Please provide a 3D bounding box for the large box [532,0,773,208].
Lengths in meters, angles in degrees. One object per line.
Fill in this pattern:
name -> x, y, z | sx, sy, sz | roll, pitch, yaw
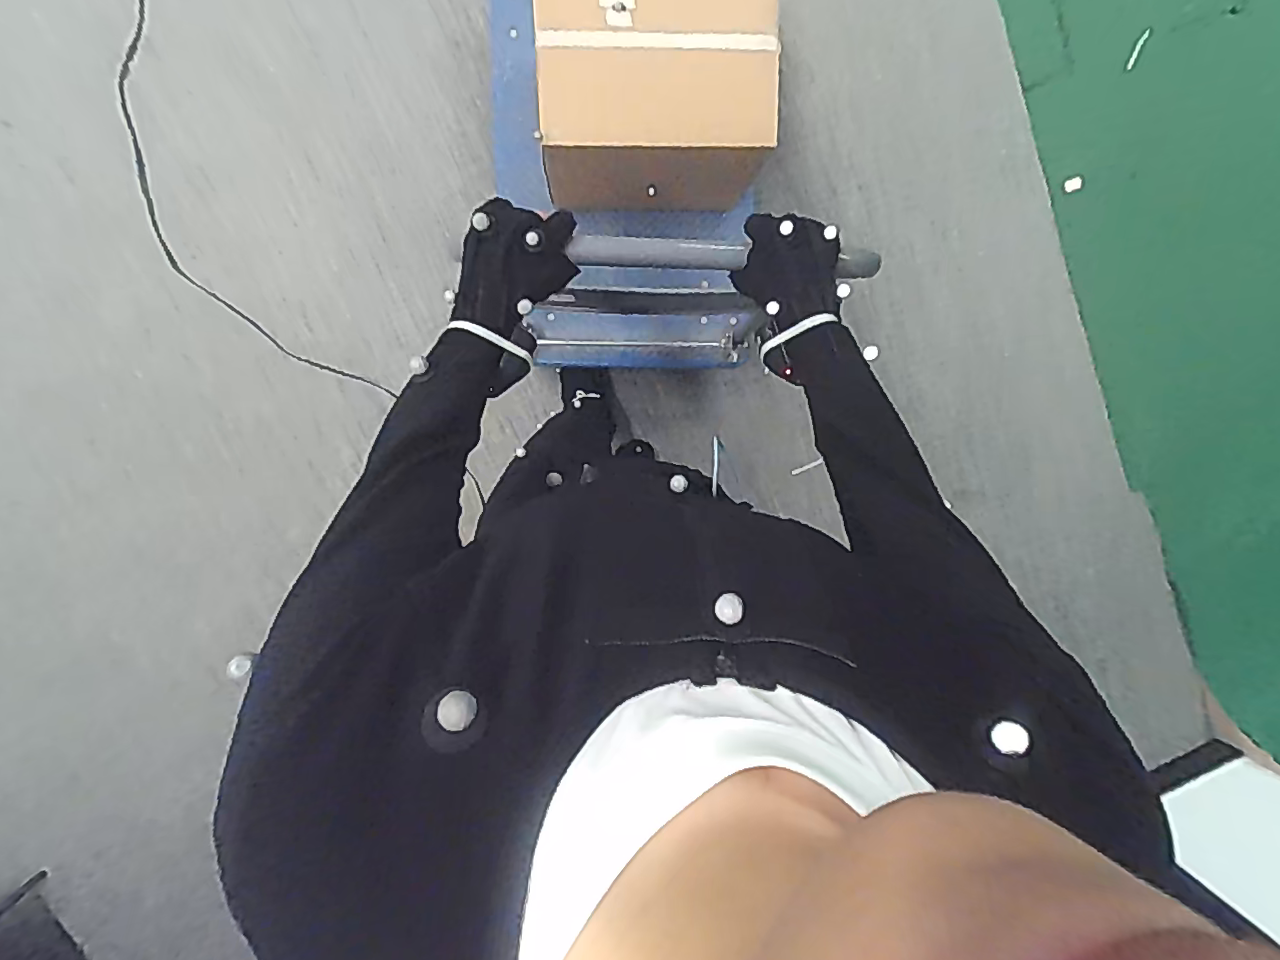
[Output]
large box -> 0.015, -0.738, 1.042 | 0.408, 0.320, 0.320 | -3, 98, -4
